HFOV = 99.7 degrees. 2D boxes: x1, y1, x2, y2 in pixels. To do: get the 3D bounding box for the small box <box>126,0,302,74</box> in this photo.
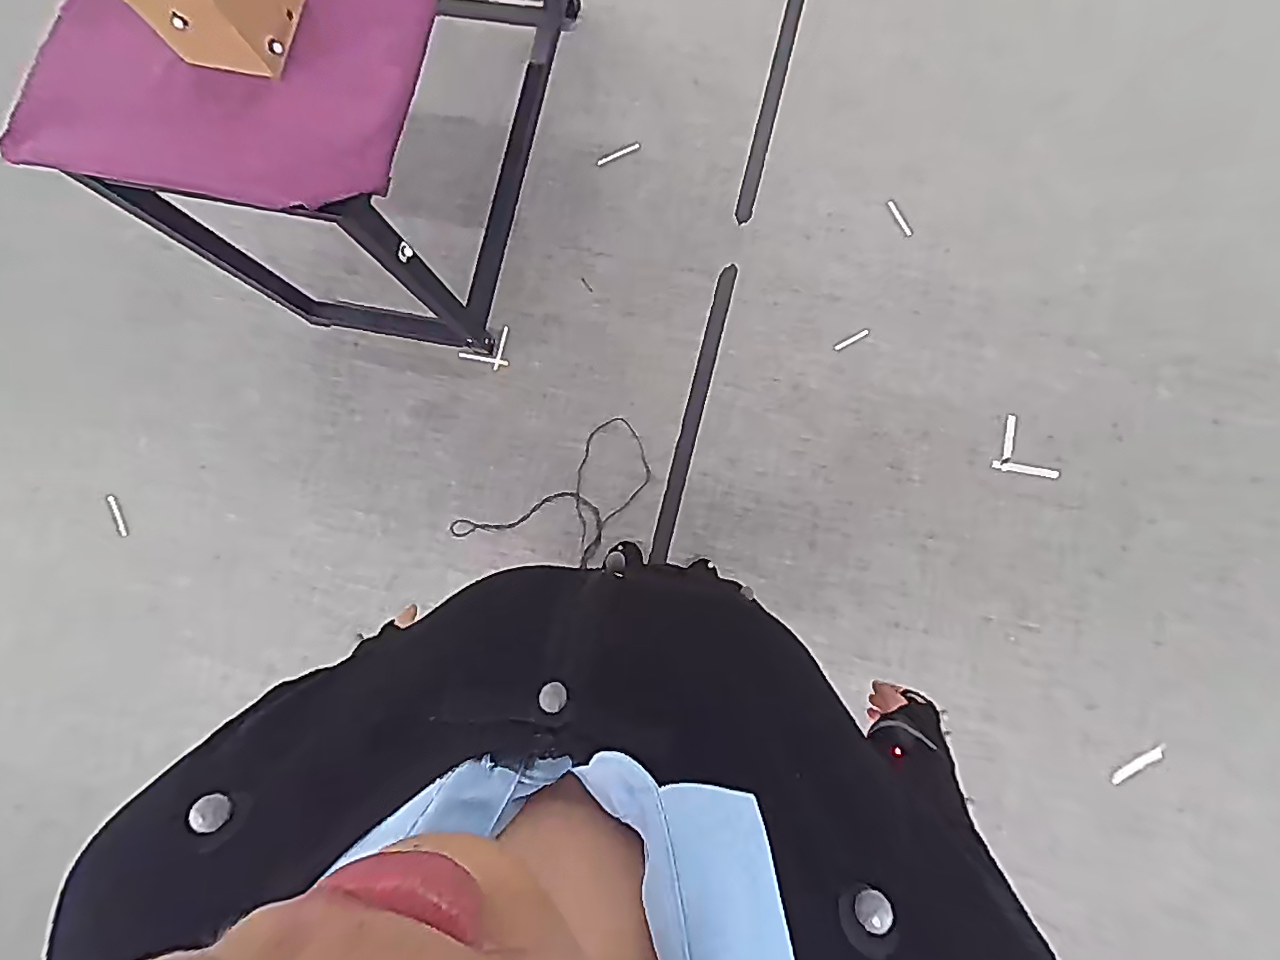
[{"bbox_3d":[-0.679,-0.785,0.849,0.179,0.176,0.168,13,84,5],"label":"small box"}]
